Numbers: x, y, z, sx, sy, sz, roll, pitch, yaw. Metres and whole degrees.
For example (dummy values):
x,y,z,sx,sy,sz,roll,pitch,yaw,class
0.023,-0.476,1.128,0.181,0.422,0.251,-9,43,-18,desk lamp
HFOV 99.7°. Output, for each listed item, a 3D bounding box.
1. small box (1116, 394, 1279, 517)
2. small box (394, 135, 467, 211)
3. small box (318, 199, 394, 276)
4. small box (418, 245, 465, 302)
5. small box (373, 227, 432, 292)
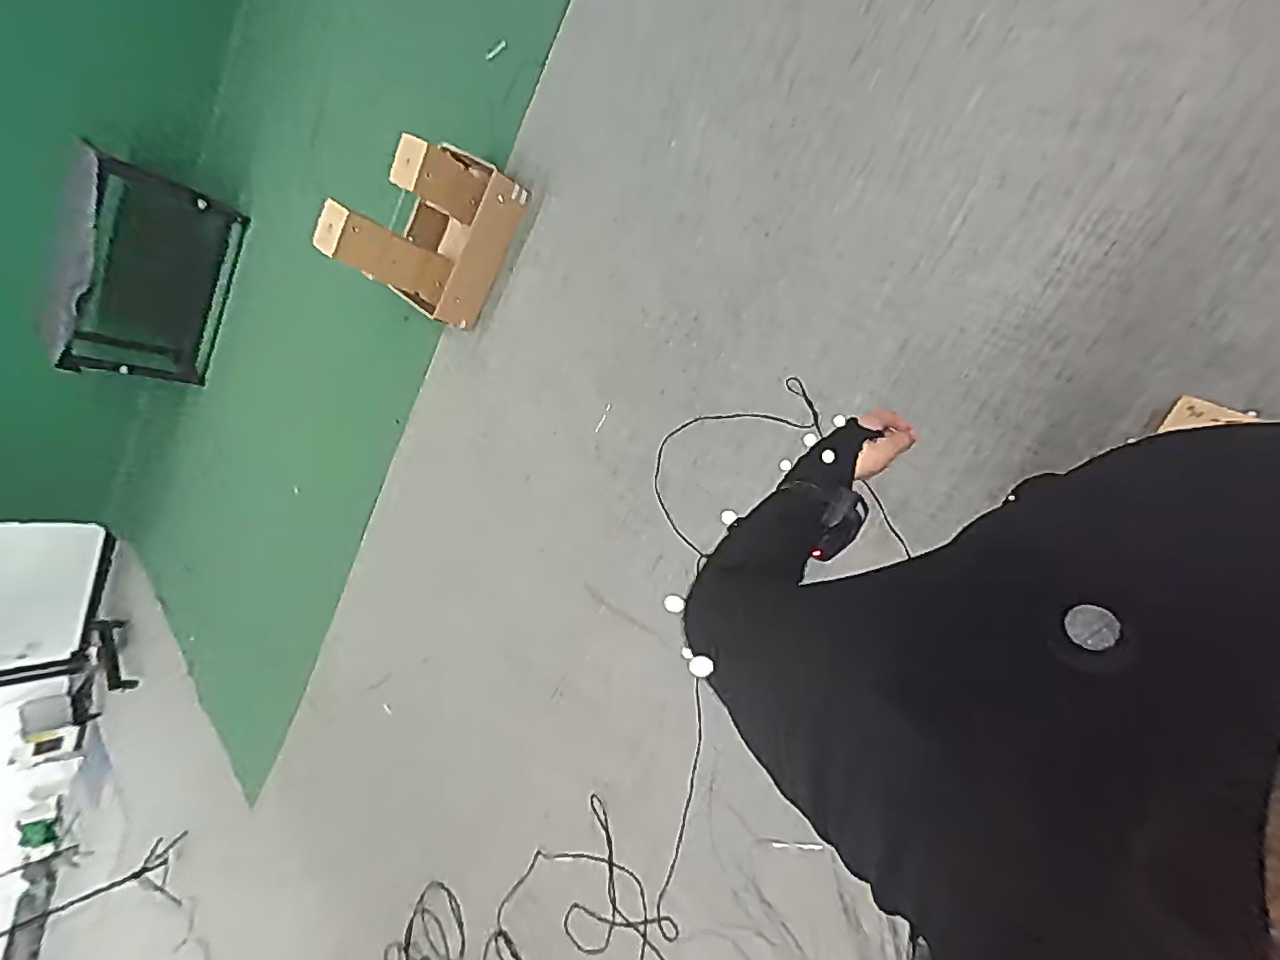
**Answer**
x,y,z,sx,sy,sz,roll,pitch,yaw,class
1.066,-0.043,1.041,0.168,0.176,0.179,33,105,29,small box
-0.775,-1.138,2.014,0.168,0.176,0.179,35,107,26,small box
-1.024,-0.876,1.962,0.168,0.176,0.179,37,106,28,small box
-0.862,-0.861,2.248,0.179,0.176,0.168,36,105,28,small box
-0.943,-0.860,2.106,0.168,0.176,0.179,37,105,27,small box
